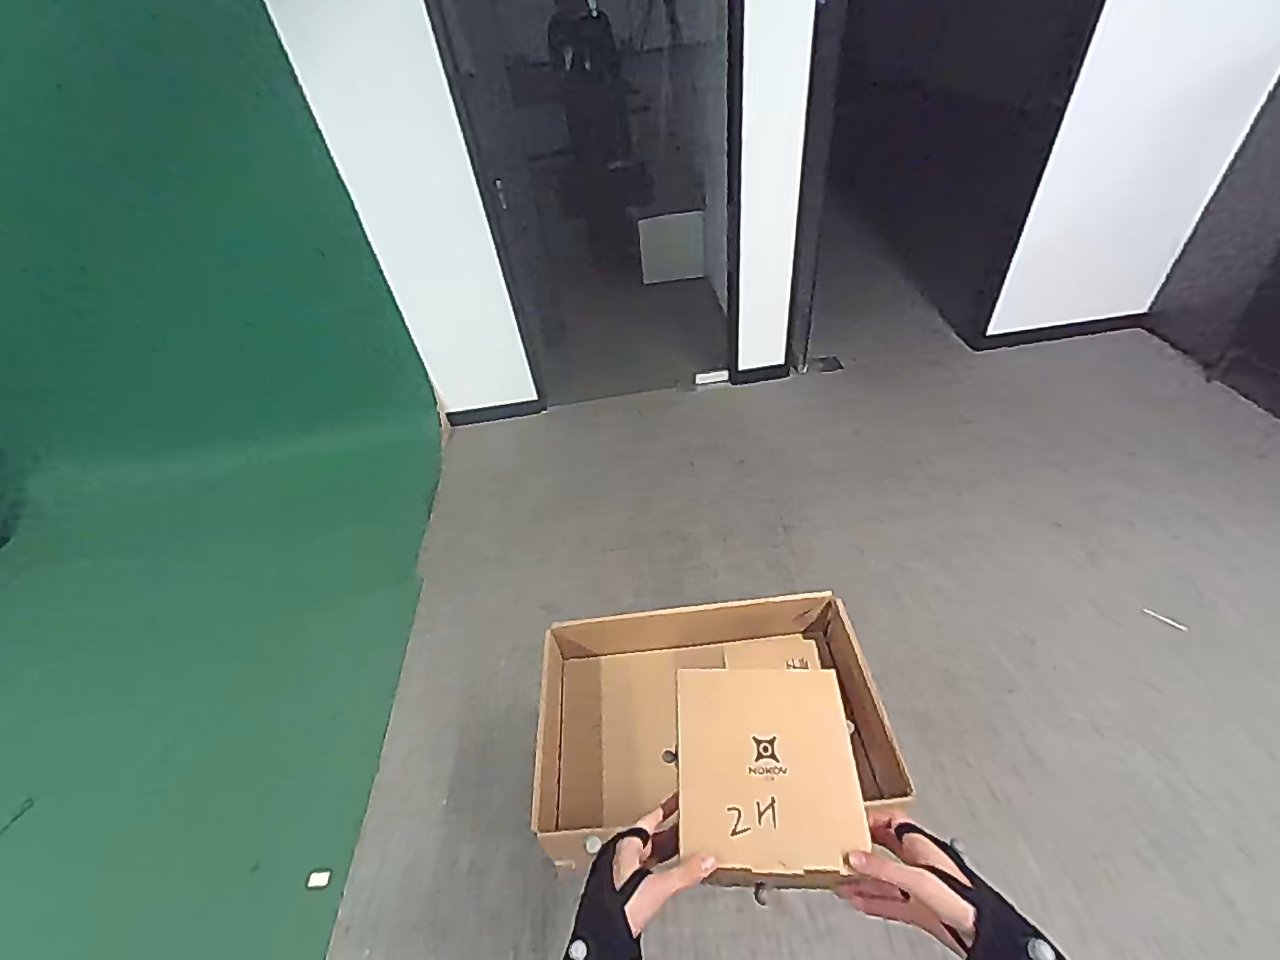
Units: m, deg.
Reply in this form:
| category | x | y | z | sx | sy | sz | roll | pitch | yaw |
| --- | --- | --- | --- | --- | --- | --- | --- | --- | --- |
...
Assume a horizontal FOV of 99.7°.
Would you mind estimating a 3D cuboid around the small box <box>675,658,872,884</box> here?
| category | x | y | z | sx | sy | sz | roll | pitch | yaw |
| --- | --- | --- | --- | --- | --- | --- | --- | --- | --- |
| small box | 0.120 | 0.305 | 0.569 | 0.168 | 0.176 | 0.179 | -1 | 50 | 4 |
